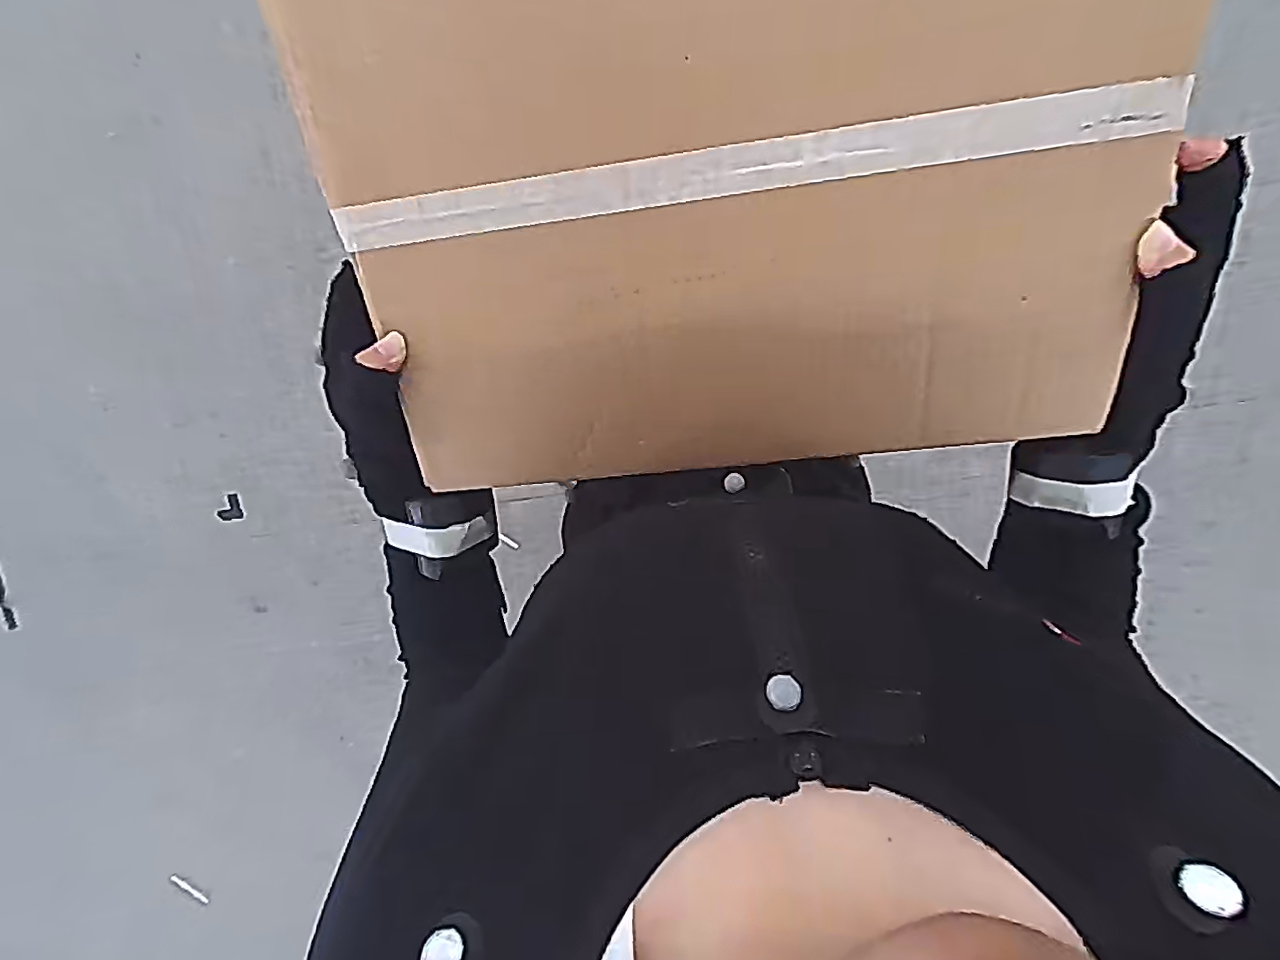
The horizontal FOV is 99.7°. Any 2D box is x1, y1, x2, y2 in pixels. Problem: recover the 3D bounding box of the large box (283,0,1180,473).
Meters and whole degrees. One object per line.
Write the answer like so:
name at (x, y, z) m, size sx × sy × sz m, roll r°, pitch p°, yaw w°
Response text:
large box at (0.047, -0.225, 0.404) m, size 0.408 × 0.320 × 0.320 m, roll -5°, pitch 117°, yaw 6°
